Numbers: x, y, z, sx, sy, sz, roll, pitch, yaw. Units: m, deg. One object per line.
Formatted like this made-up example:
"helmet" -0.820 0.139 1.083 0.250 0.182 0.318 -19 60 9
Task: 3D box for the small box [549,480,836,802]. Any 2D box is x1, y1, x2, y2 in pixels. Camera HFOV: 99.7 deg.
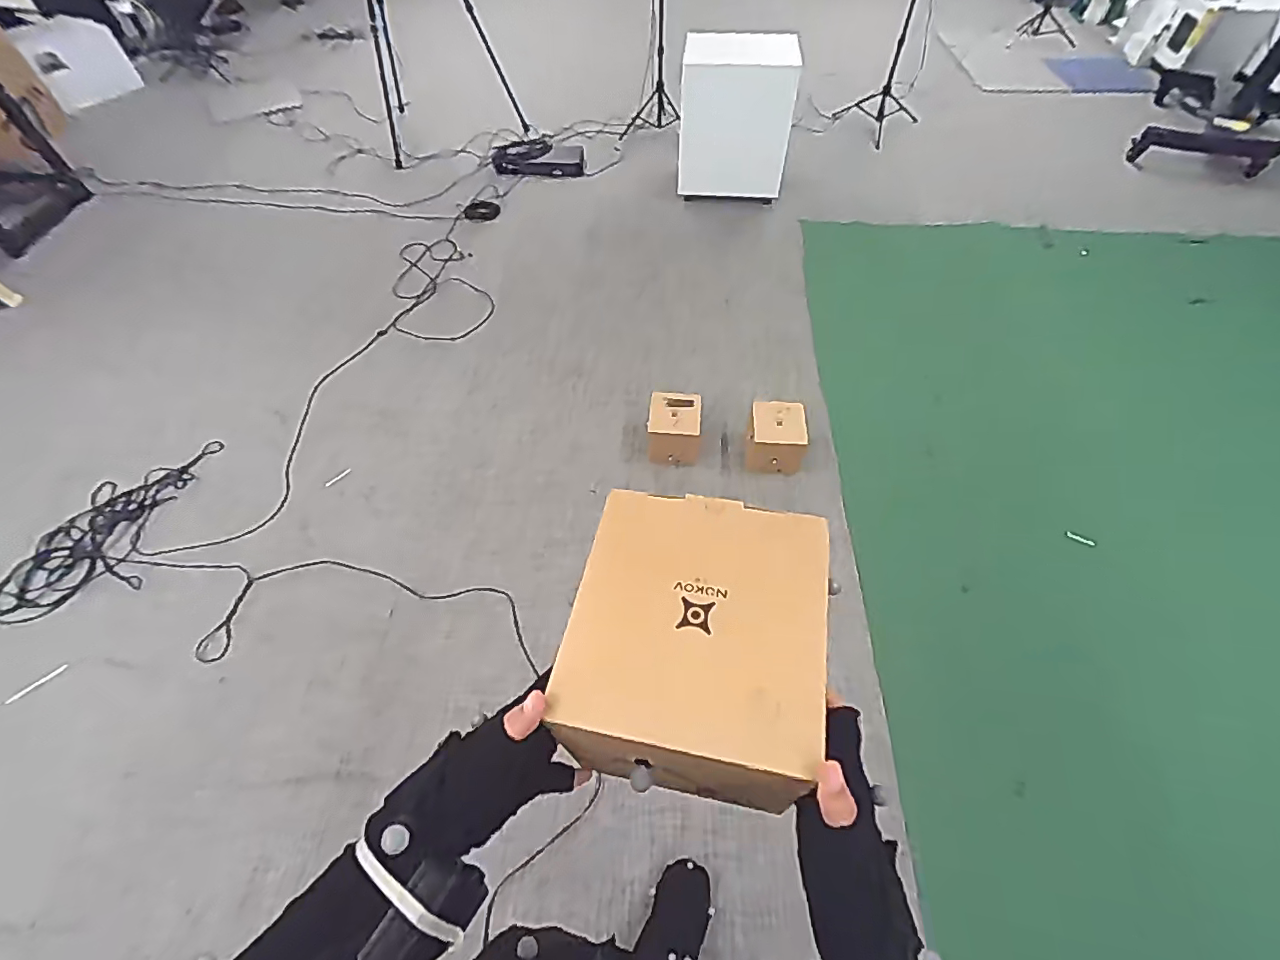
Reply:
"small box" 0.049 0.126 0.415 0.168 0.176 0.179 7 53 11

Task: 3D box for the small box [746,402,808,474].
"small box" 0.442 -0.134 1.774 0.168 0.176 0.179 3 55 2
